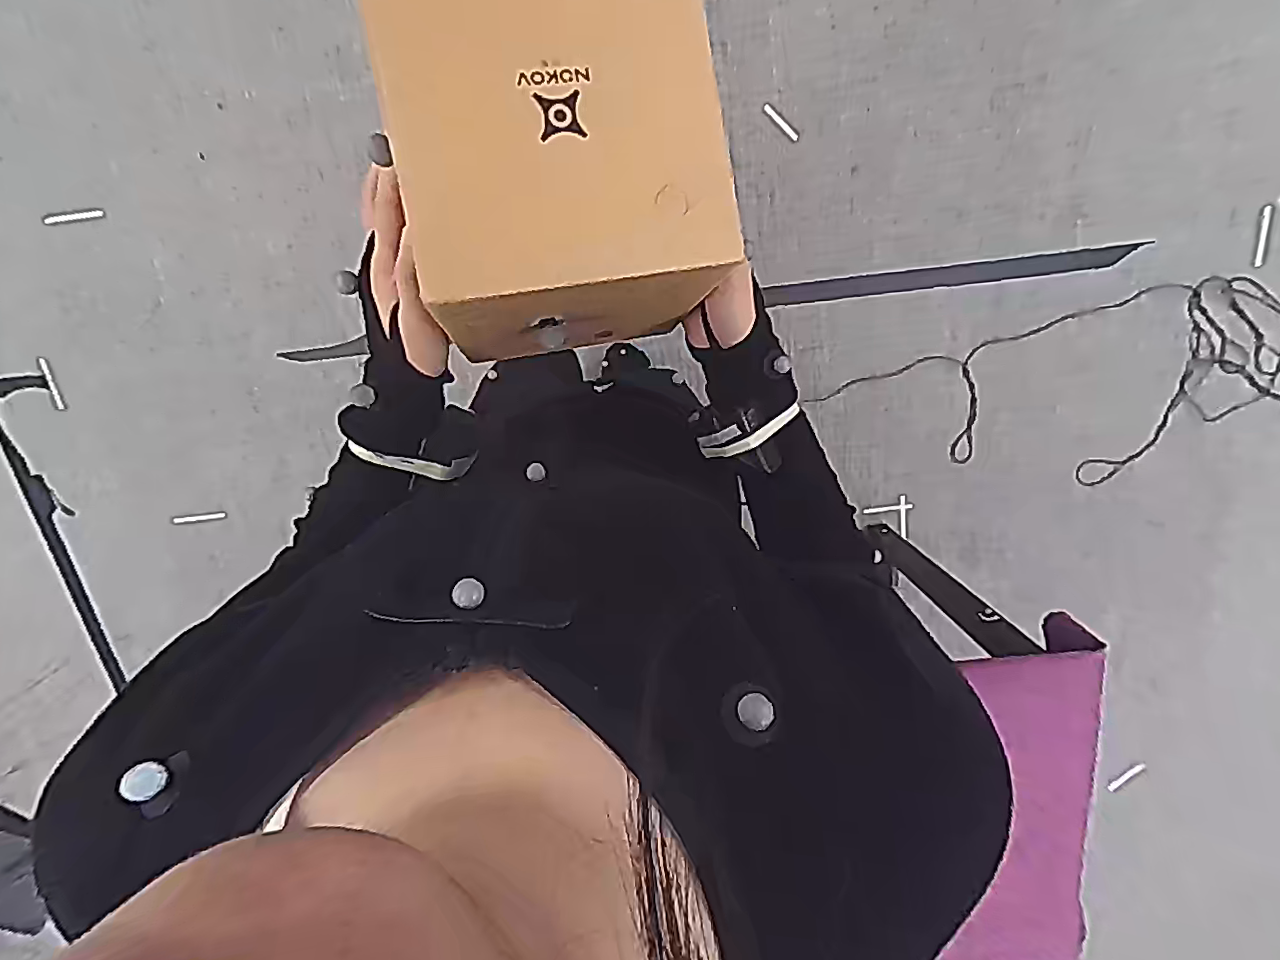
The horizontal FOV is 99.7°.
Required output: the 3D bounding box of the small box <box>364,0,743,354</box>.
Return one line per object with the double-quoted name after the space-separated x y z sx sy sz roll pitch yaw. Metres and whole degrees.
-0.051 -0.185 0.344 0.168 0.176 0.179 -11 93 -9 "small box"
